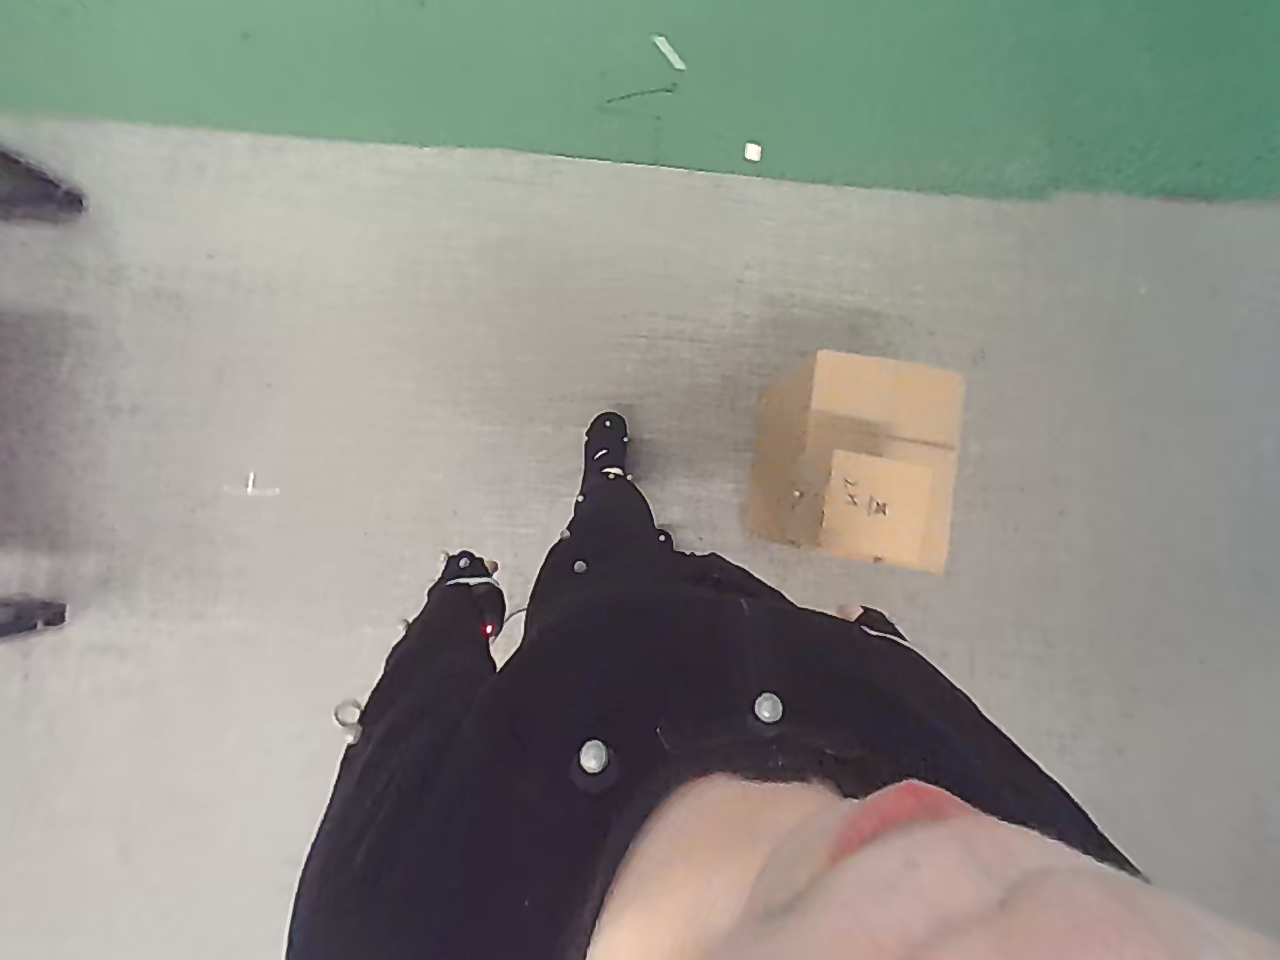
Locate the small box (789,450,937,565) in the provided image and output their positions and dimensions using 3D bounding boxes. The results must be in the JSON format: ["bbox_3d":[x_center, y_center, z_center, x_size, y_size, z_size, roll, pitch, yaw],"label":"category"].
[{"bbox_3d":[0.391,0.046,0.973,0.179,0.176,0.168,11,88,-3],"label":"small box"}]
